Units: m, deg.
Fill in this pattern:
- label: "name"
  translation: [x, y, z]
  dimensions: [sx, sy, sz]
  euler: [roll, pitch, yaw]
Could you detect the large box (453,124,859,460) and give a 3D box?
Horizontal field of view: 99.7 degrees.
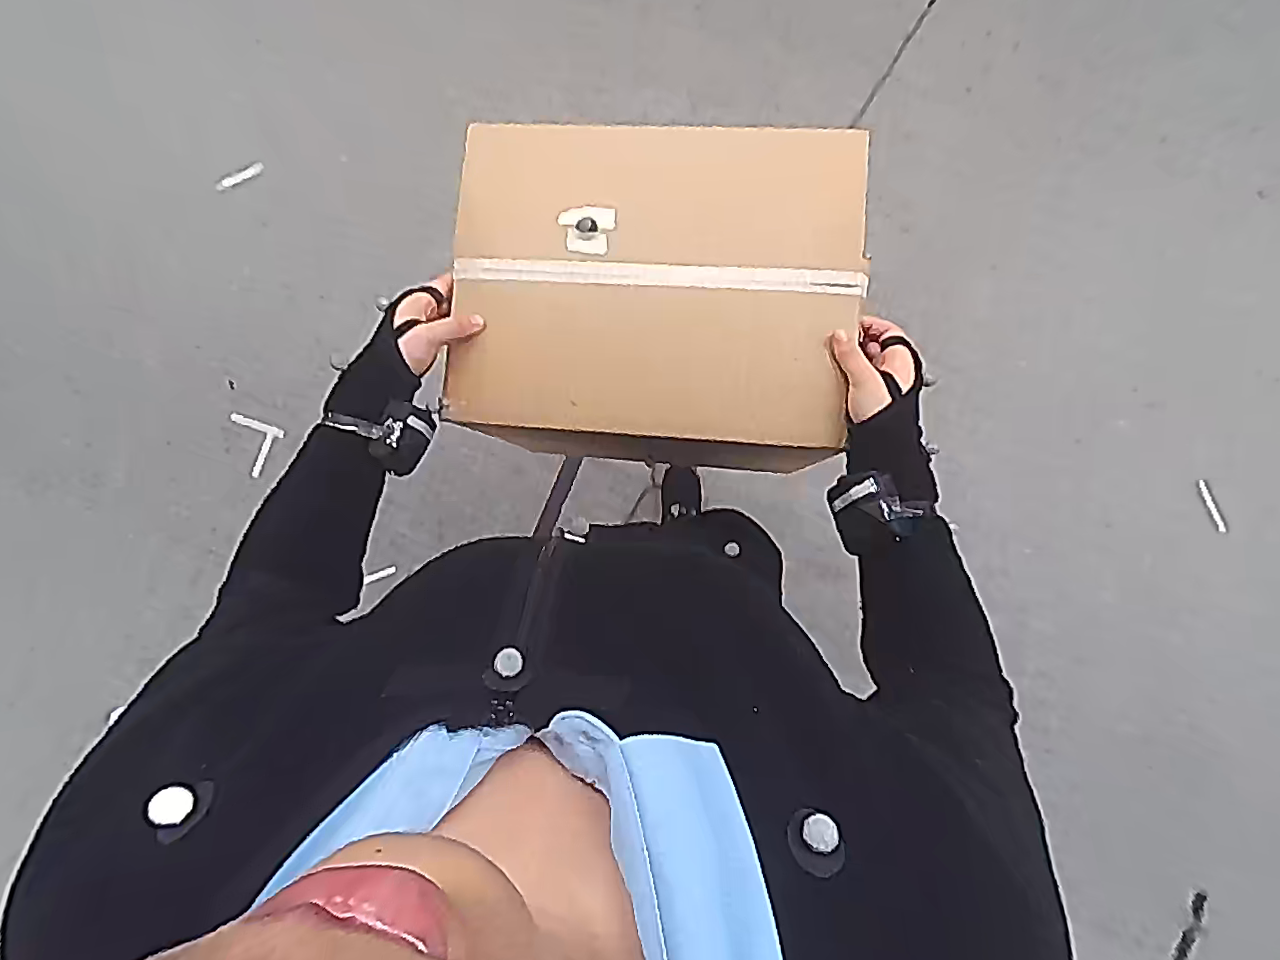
- label: "large box"
  translation: [0.030, -0.198, 0.691]
  dimensions: [0.408, 0.320, 0.320]
  euler: [4, 86, 7]
